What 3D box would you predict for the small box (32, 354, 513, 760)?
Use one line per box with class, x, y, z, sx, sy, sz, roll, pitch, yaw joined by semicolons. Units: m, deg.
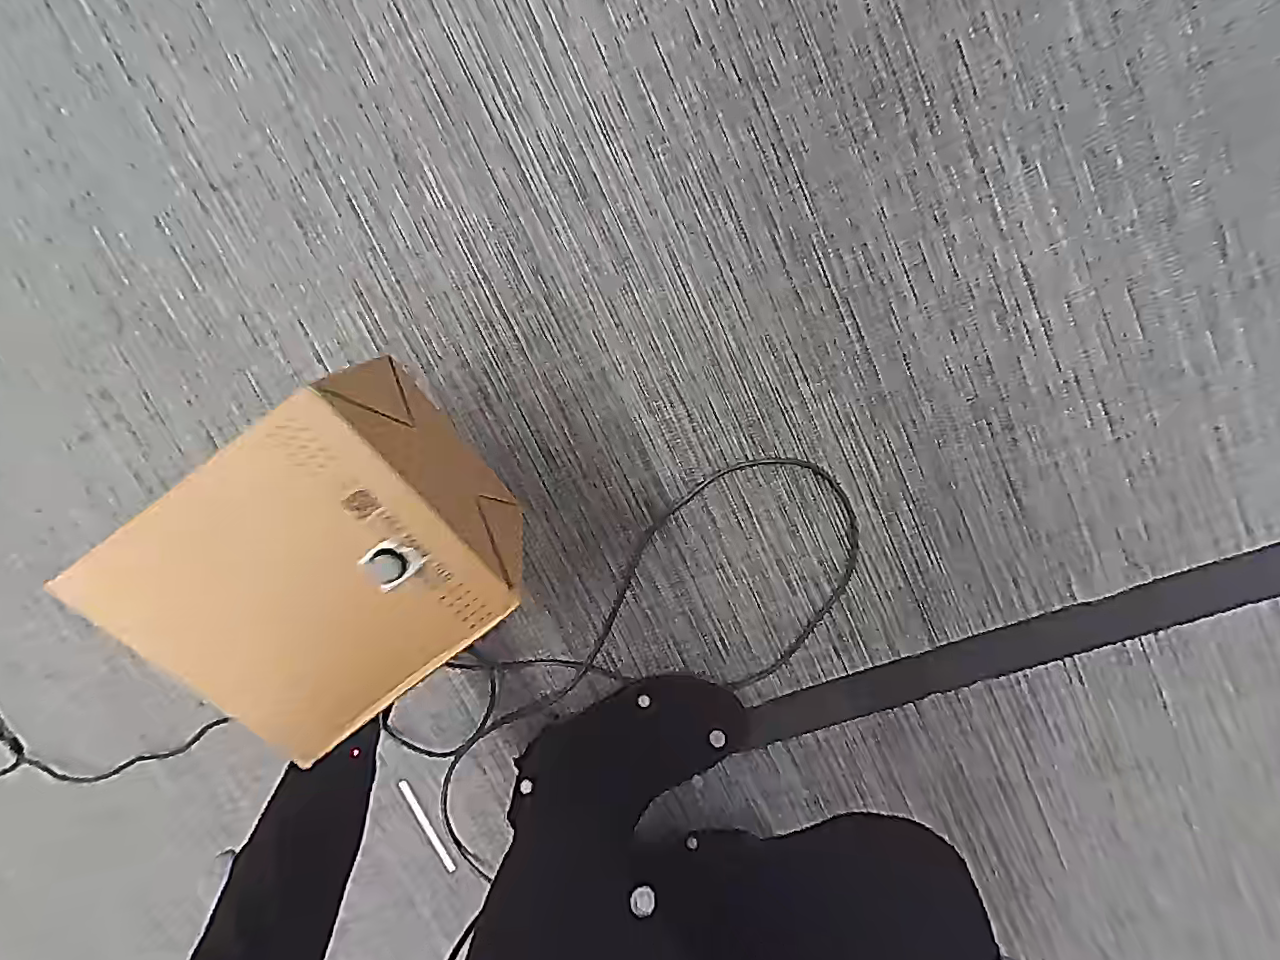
small box;-0.201;0.033;0.366;0.176;0.179;0.168;-38;111;2
